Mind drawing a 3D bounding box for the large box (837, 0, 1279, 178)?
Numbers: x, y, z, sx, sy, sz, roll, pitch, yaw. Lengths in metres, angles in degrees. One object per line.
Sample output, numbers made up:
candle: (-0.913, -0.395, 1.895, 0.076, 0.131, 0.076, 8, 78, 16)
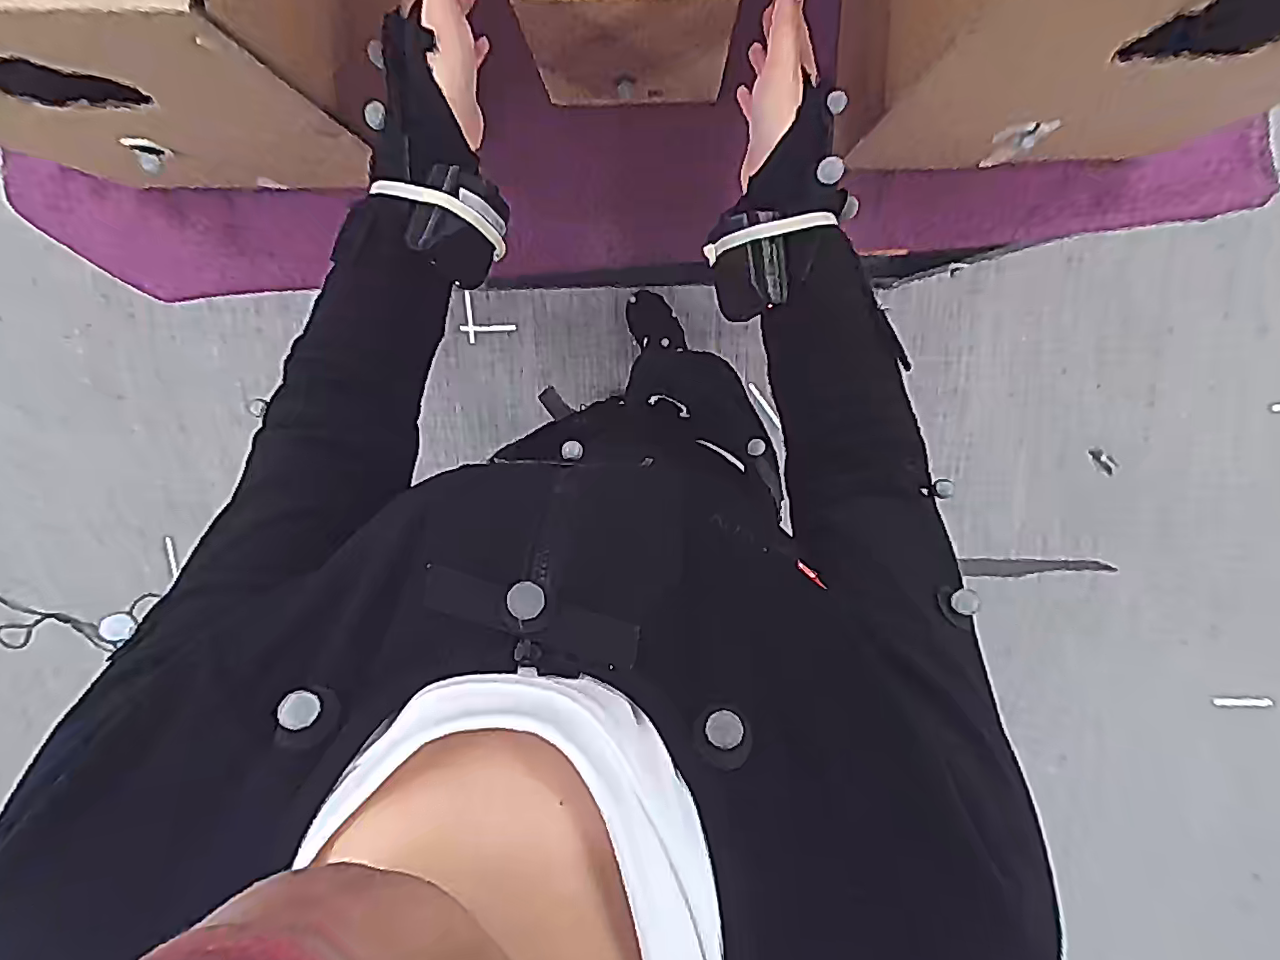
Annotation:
large box: (0.332, -0.470, 0.352, 0.320, 0.320, 0.408, -1, 102, 2)
